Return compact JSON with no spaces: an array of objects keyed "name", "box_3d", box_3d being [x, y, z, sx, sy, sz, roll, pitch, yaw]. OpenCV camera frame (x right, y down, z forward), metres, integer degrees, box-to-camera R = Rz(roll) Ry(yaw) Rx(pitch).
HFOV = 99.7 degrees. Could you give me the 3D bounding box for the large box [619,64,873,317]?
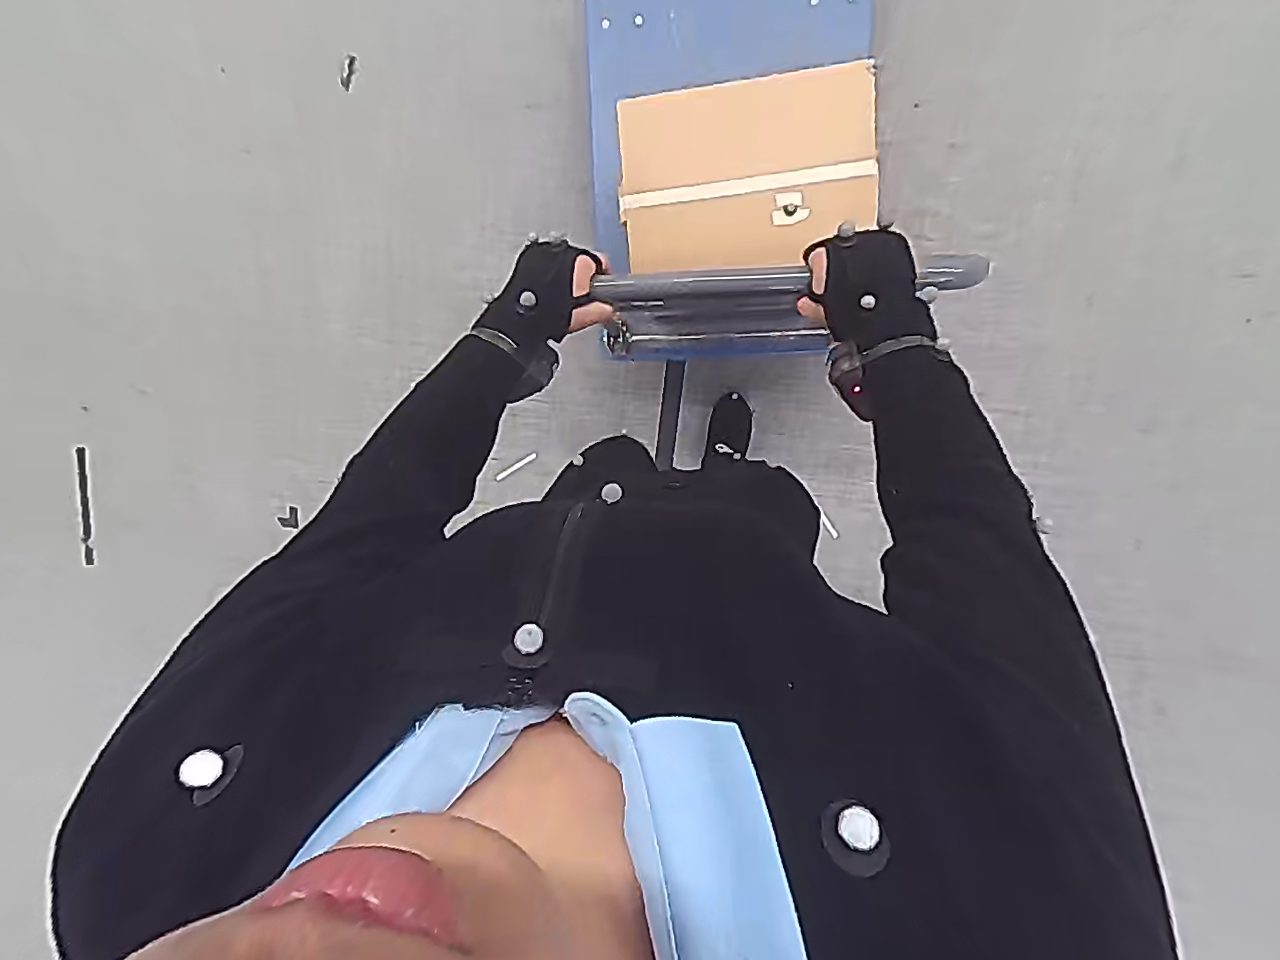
[{"name":"large box","box_3d":[0.190,-0.511,1.040,0.408,0.320,0.320,-4,101,7]}]
